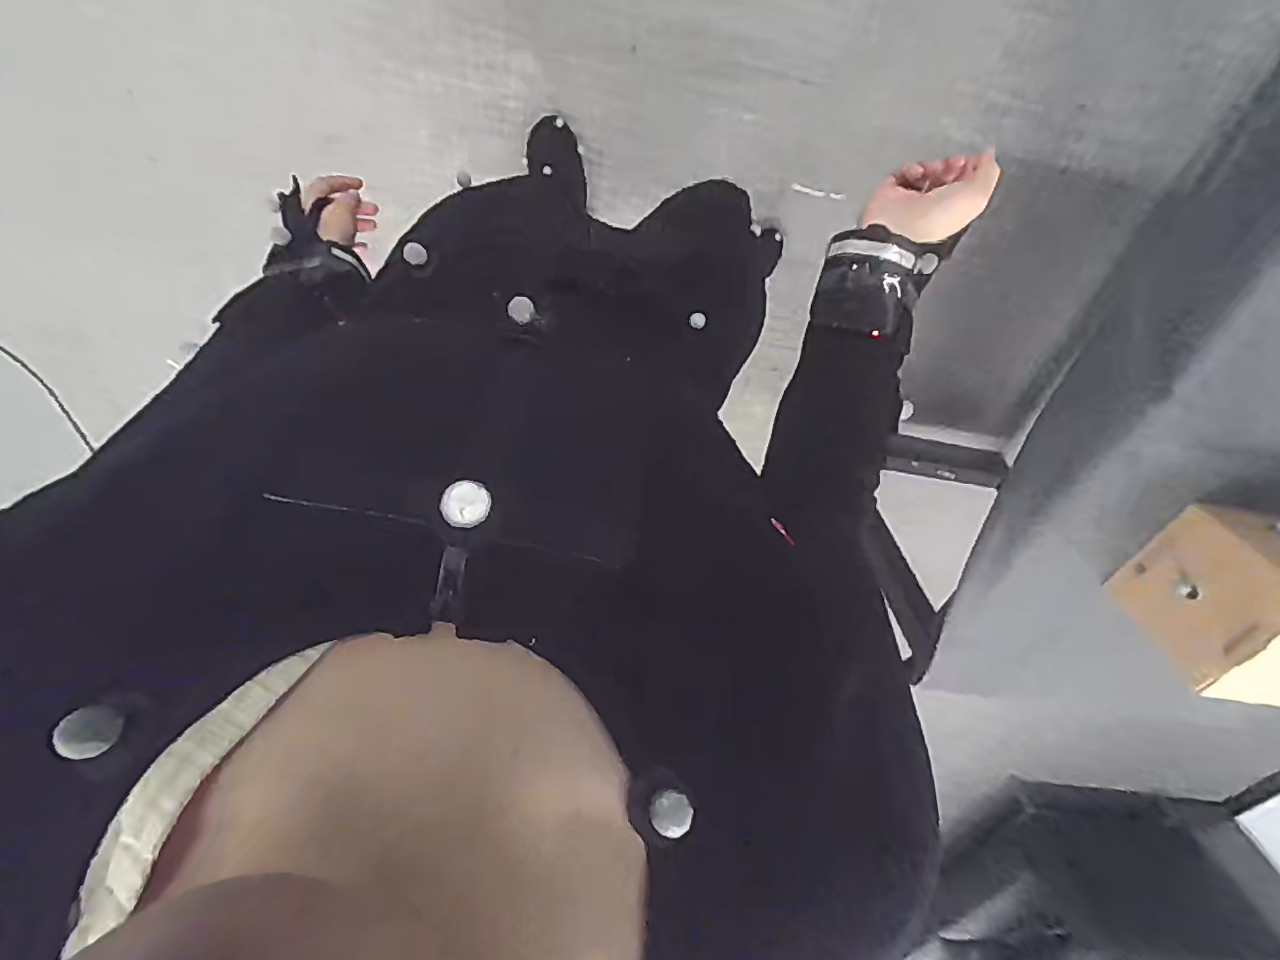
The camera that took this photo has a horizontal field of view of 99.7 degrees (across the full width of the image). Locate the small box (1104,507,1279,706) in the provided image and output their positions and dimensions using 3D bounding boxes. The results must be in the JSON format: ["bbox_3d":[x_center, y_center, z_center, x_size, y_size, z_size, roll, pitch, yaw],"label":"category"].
[{"bbox_3d":[0.751,0.153,0.673,0.179,0.176,0.168,10,126,-8],"label":"small box"}]
